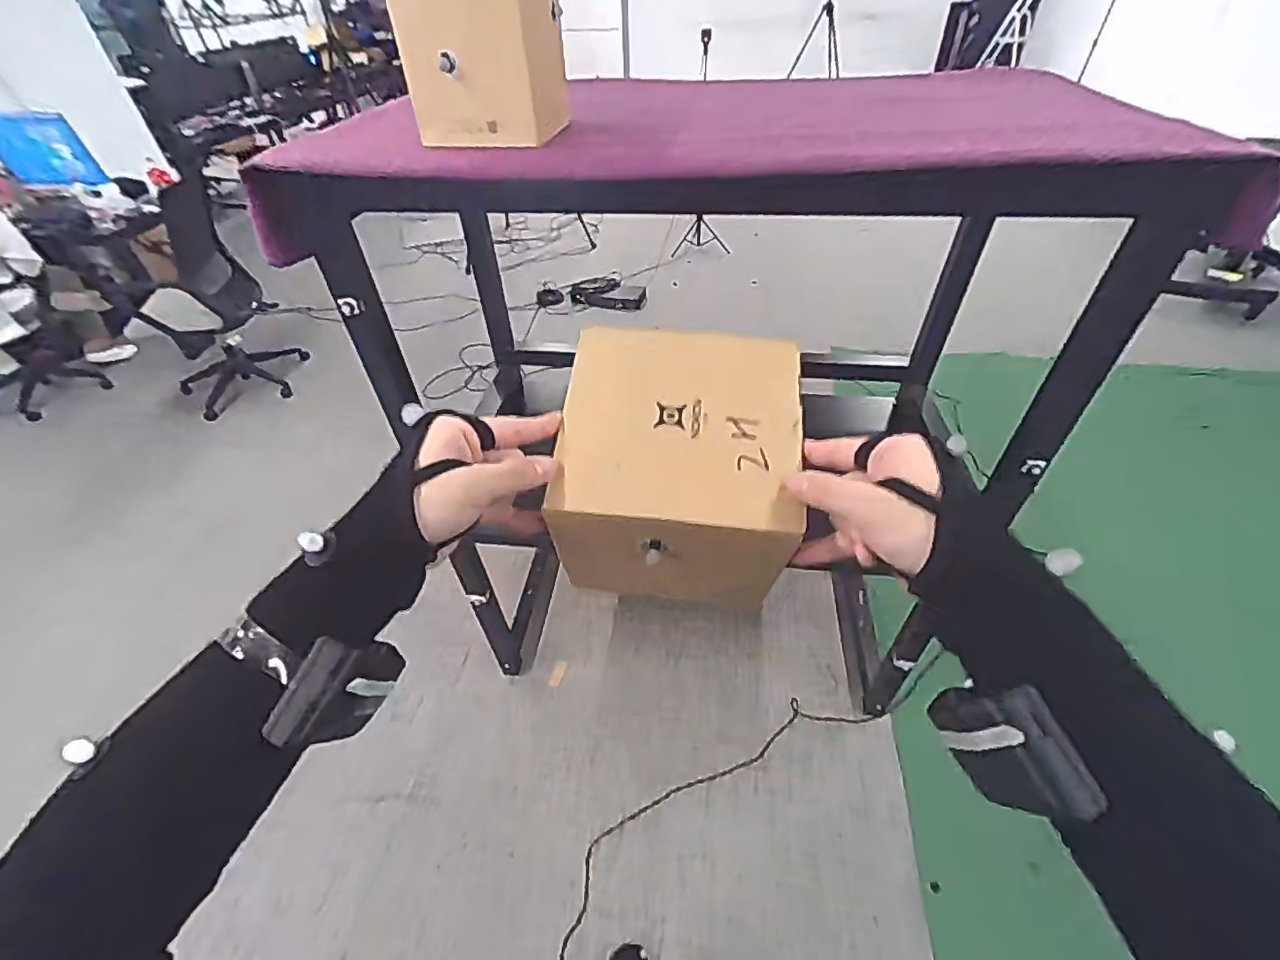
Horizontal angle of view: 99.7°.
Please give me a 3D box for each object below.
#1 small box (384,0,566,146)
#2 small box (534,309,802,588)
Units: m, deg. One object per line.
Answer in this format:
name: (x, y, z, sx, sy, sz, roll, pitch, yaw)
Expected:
small box: (-0.203, -0.560, 0.726, 0.168, 0.176, 0.179, 4, 43, 7)
small box: (0.027, -0.017, 0.452, 0.179, 0.176, 0.168, 6, 62, 3)
